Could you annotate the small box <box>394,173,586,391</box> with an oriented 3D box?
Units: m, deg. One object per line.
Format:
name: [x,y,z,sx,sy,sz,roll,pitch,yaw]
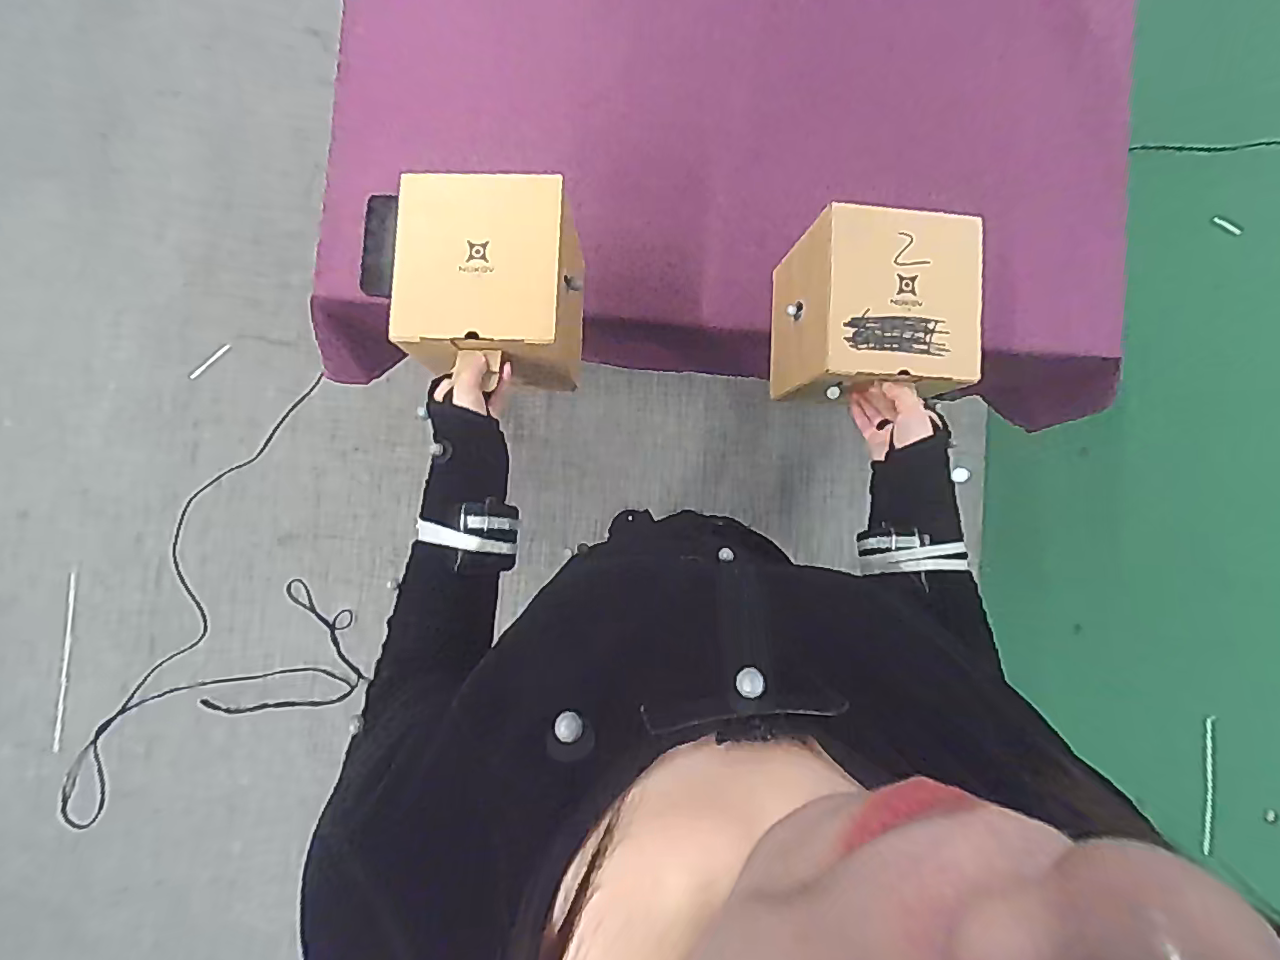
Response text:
small box: [-0.154,-0.211,0.613,0.168,0.176,0.179,2,84,1]
